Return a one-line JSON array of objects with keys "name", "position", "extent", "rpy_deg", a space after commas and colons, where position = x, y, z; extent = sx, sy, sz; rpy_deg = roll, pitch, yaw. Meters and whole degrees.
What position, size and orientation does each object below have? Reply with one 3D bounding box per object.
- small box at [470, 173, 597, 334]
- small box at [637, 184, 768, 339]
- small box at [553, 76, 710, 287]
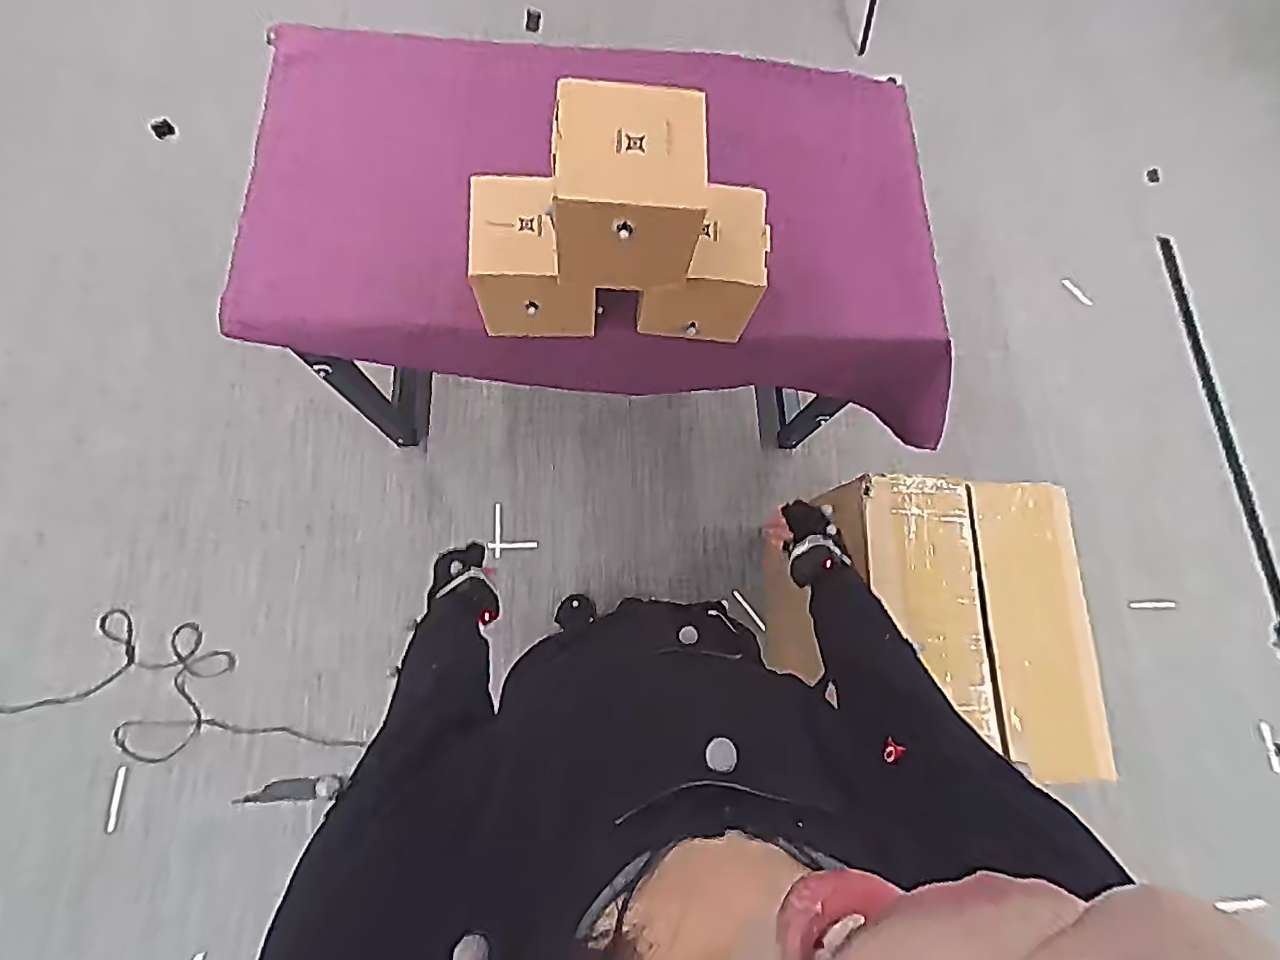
[{"name": "small box", "position": [-0.155, -0.339, 0.837], "extent": [0.179, 0.176, 0.168], "rpy_deg": [-2, 75, -5]}, {"name": "small box", "position": [0.094, -0.342, 0.865], "extent": [0.179, 0.176, 0.168], "rpy_deg": [4, 75, -4]}, {"name": "small box", "position": [-0.015, -0.366, 0.689], "extent": [0.179, 0.176, 0.168], "rpy_deg": [1, 77, -6]}]
